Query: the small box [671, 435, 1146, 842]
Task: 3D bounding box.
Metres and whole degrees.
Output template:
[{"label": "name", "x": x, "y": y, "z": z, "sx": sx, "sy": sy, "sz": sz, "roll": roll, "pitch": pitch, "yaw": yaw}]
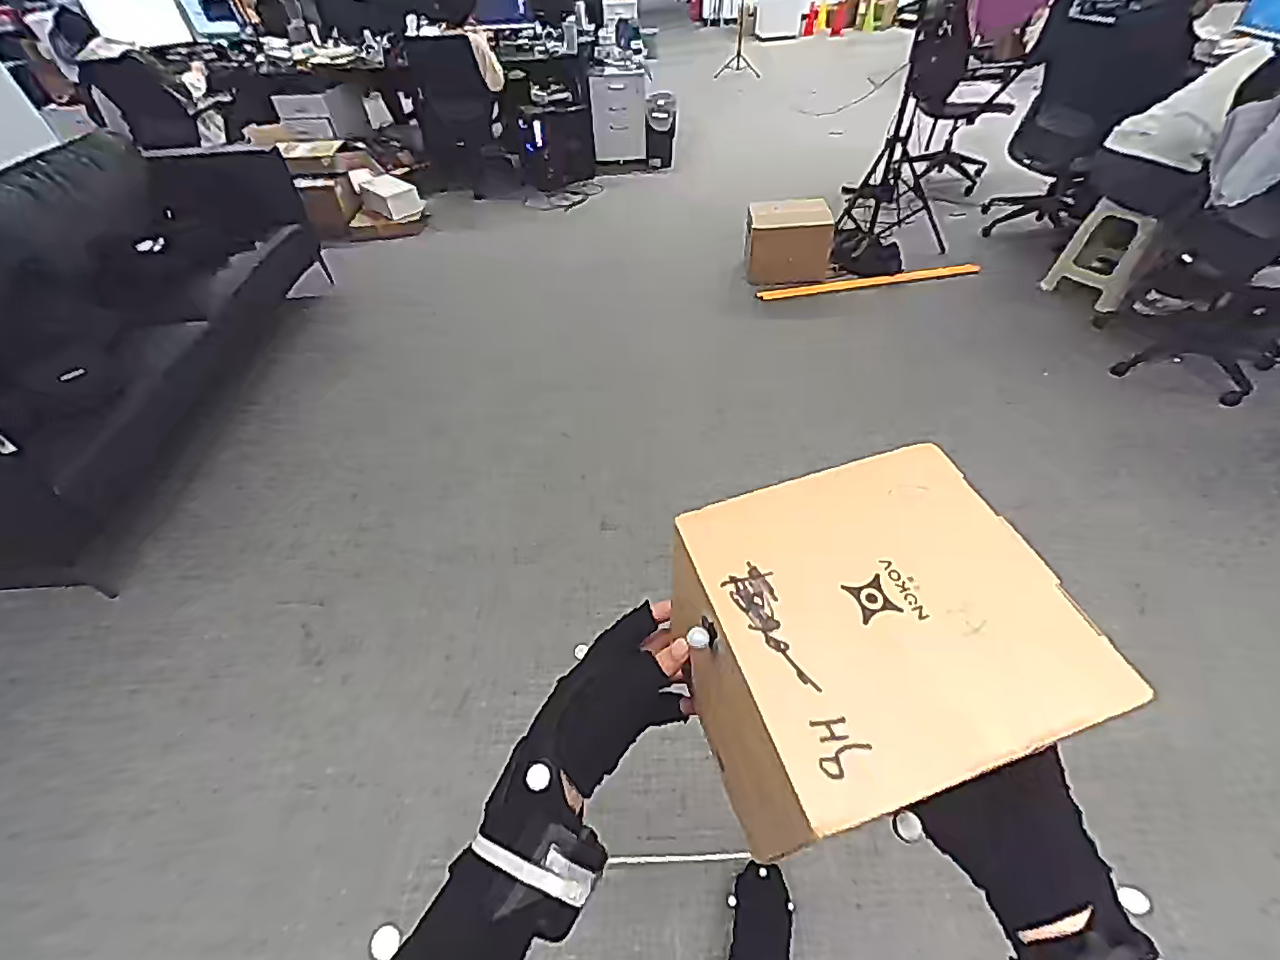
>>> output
[{"label": "small box", "x": 0.128, "y": 0.102, "z": 0.341, "sx": 0.179, "sy": 0.176, "sz": 0.168, "roll": -14, "pitch": 52, "yaw": -11}]
